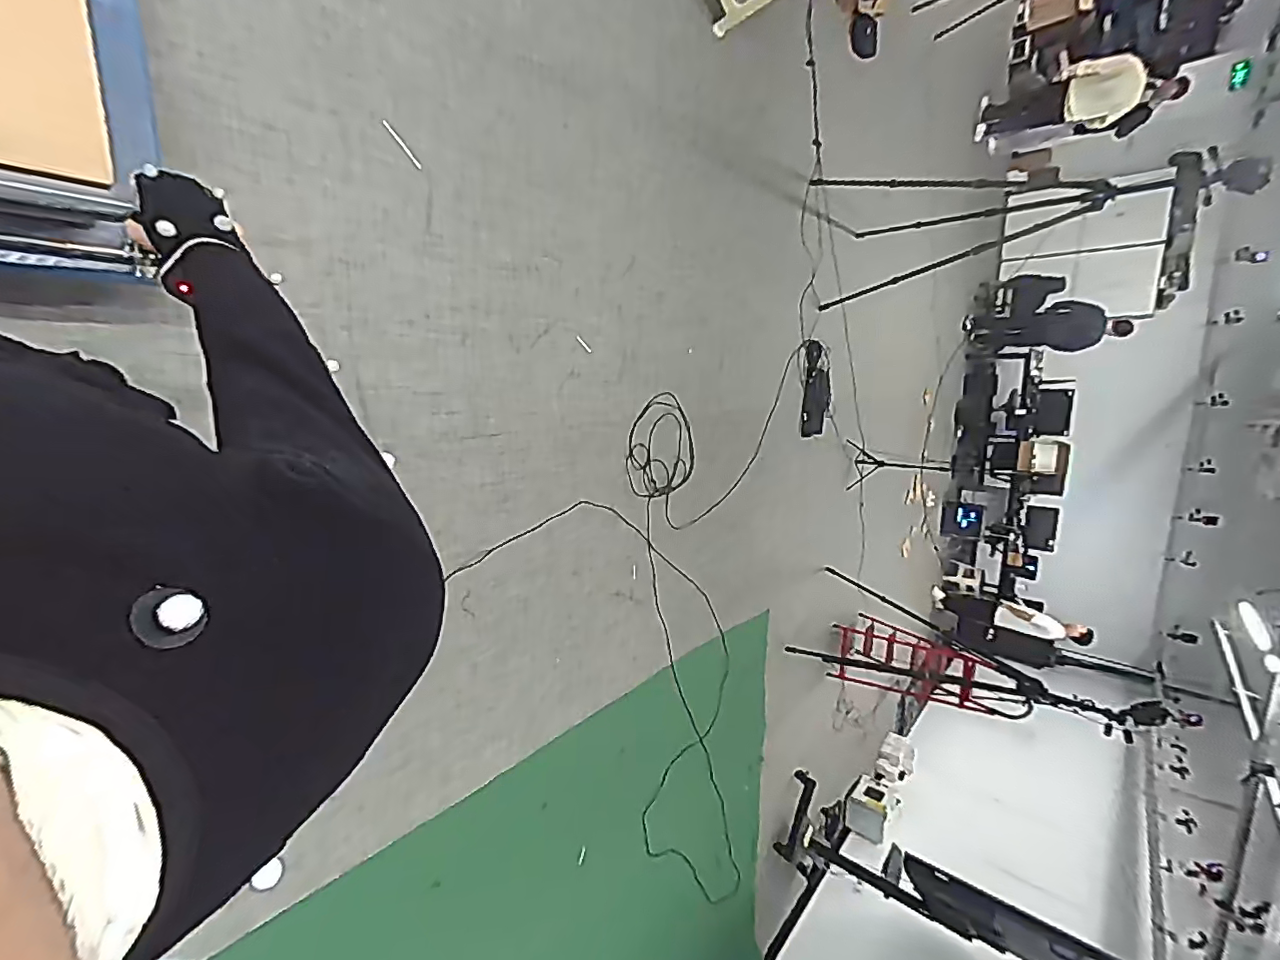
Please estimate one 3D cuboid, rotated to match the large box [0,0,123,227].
[{"bbox_3d":[-1.005,-0.628,0.776,0.320,0.320,0.408,-12,104,-48],"label":"large box"}]
